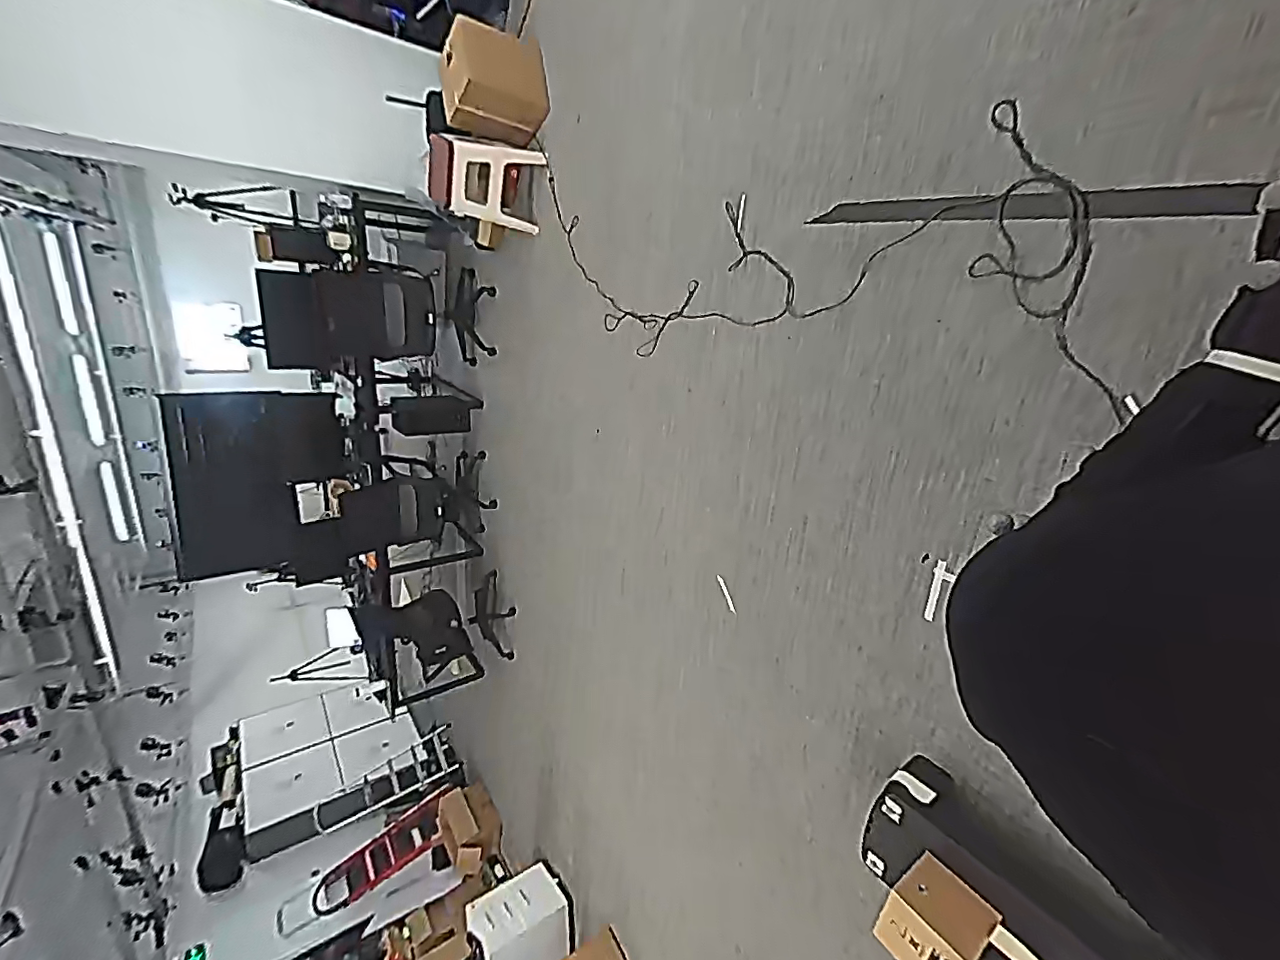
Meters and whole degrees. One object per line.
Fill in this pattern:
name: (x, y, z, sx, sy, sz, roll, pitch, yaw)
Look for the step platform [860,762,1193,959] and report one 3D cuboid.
step platform: (0.872, 1.027, 1.273, 0.684, 0.204, 0.286, 27, 119, 47)
